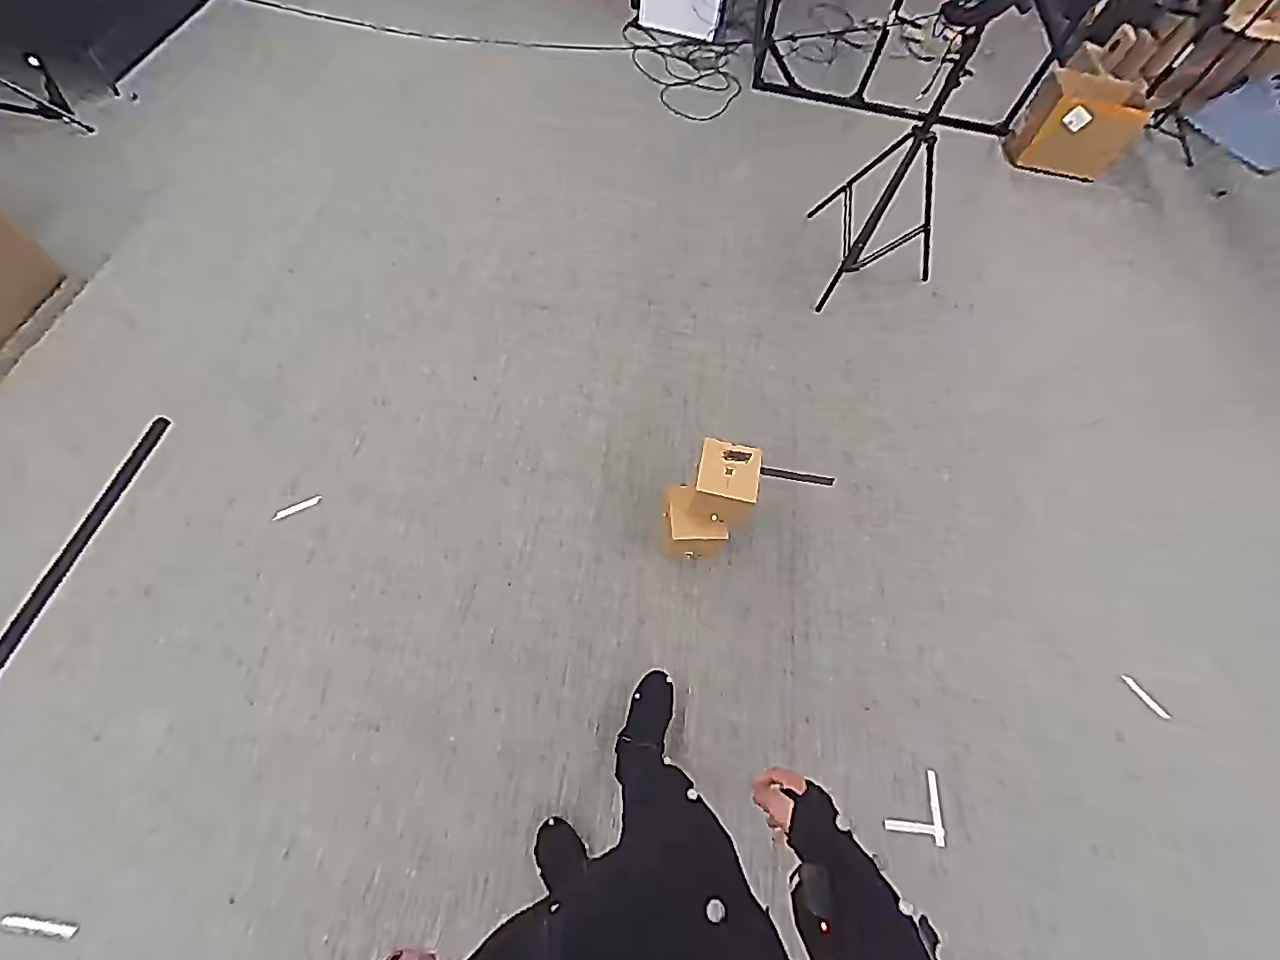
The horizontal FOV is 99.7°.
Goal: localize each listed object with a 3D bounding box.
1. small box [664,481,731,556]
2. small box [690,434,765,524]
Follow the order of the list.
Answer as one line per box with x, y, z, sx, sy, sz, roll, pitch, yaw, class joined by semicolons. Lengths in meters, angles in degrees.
0.167;0.118;1.639;0.168;0.176;0.179;0;63;-5;small box
0.241;0.000;1.524;0.168;0.176;0.179;13;62;2;small box
